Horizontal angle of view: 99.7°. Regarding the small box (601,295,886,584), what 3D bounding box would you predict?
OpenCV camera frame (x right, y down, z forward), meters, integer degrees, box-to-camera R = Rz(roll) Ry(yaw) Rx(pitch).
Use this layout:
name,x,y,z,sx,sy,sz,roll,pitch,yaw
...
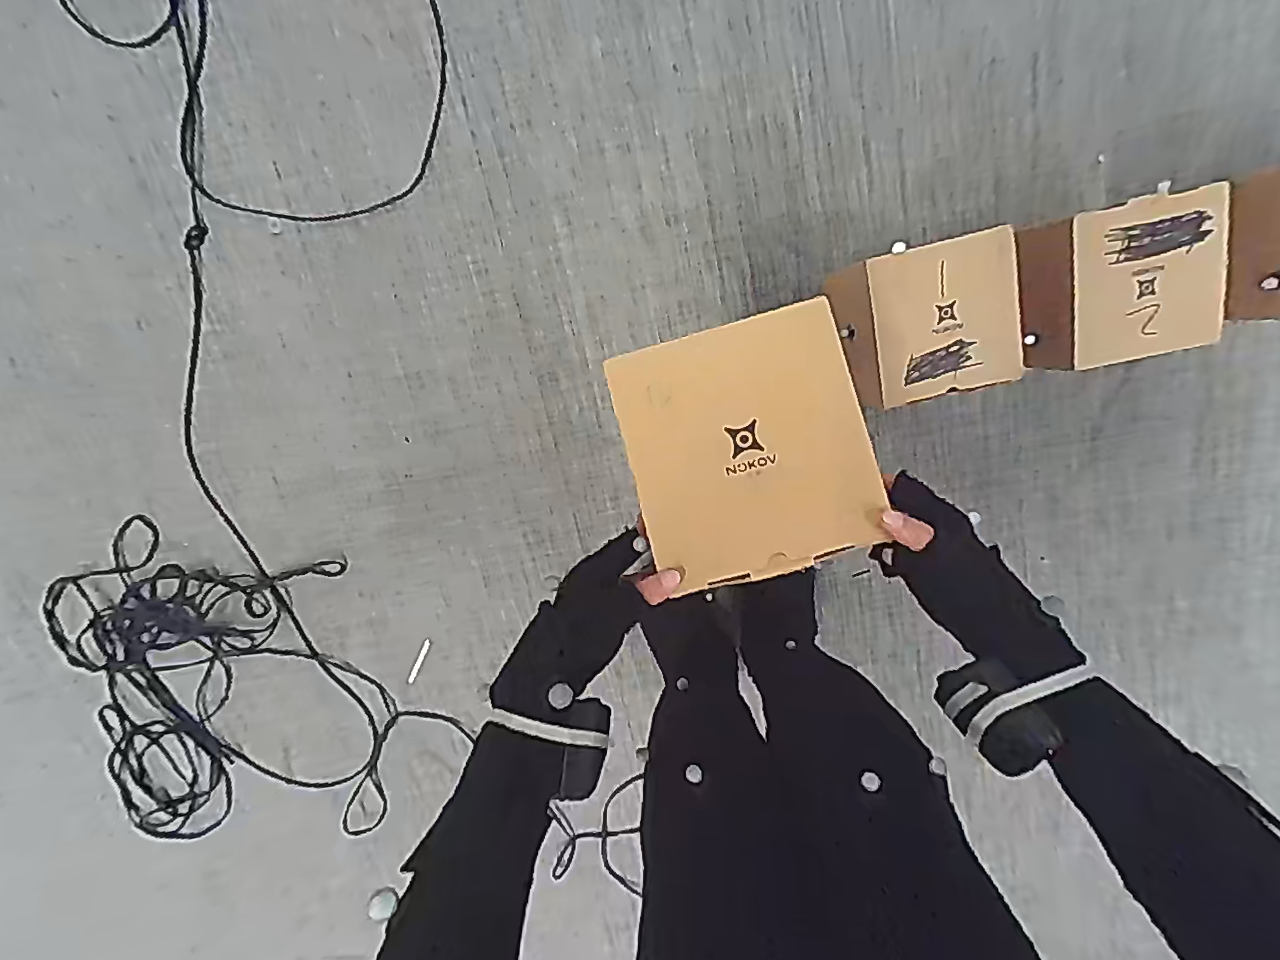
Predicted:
name,x,y,z,sx,sy,sz,roll,pitch,yaw
small box,0.074,-0.023,0.458,0.168,0.176,0.179,-16,86,3

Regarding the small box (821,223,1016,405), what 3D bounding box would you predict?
name,x,y,z,sx,sy,sz,roll,pitch,yaw
small box,0.347,-0.206,0.699,0.168,0.176,0.179,-12,102,6

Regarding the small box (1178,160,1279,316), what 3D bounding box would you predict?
name,x,y,z,sx,sy,sz,roll,pitch,yaw
small box,0.817,-0.303,0.660,0.168,0.176,0.179,-11,104,4
